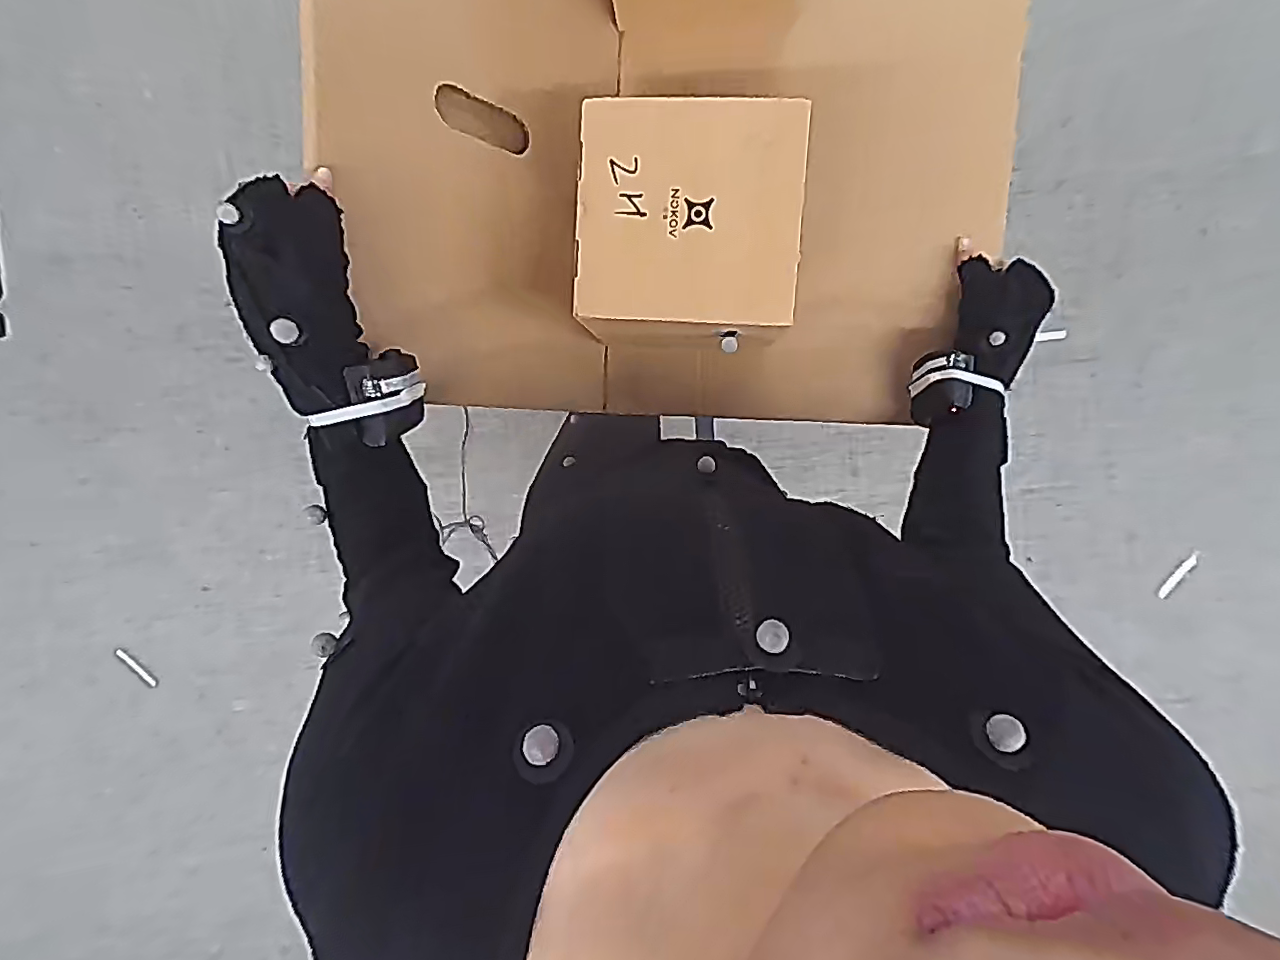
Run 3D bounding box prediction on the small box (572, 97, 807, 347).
[{"bbox_3d":[0.043,-0.221,0.505,0.179,0.176,0.168,4,96,5],"label":"small box"}]
